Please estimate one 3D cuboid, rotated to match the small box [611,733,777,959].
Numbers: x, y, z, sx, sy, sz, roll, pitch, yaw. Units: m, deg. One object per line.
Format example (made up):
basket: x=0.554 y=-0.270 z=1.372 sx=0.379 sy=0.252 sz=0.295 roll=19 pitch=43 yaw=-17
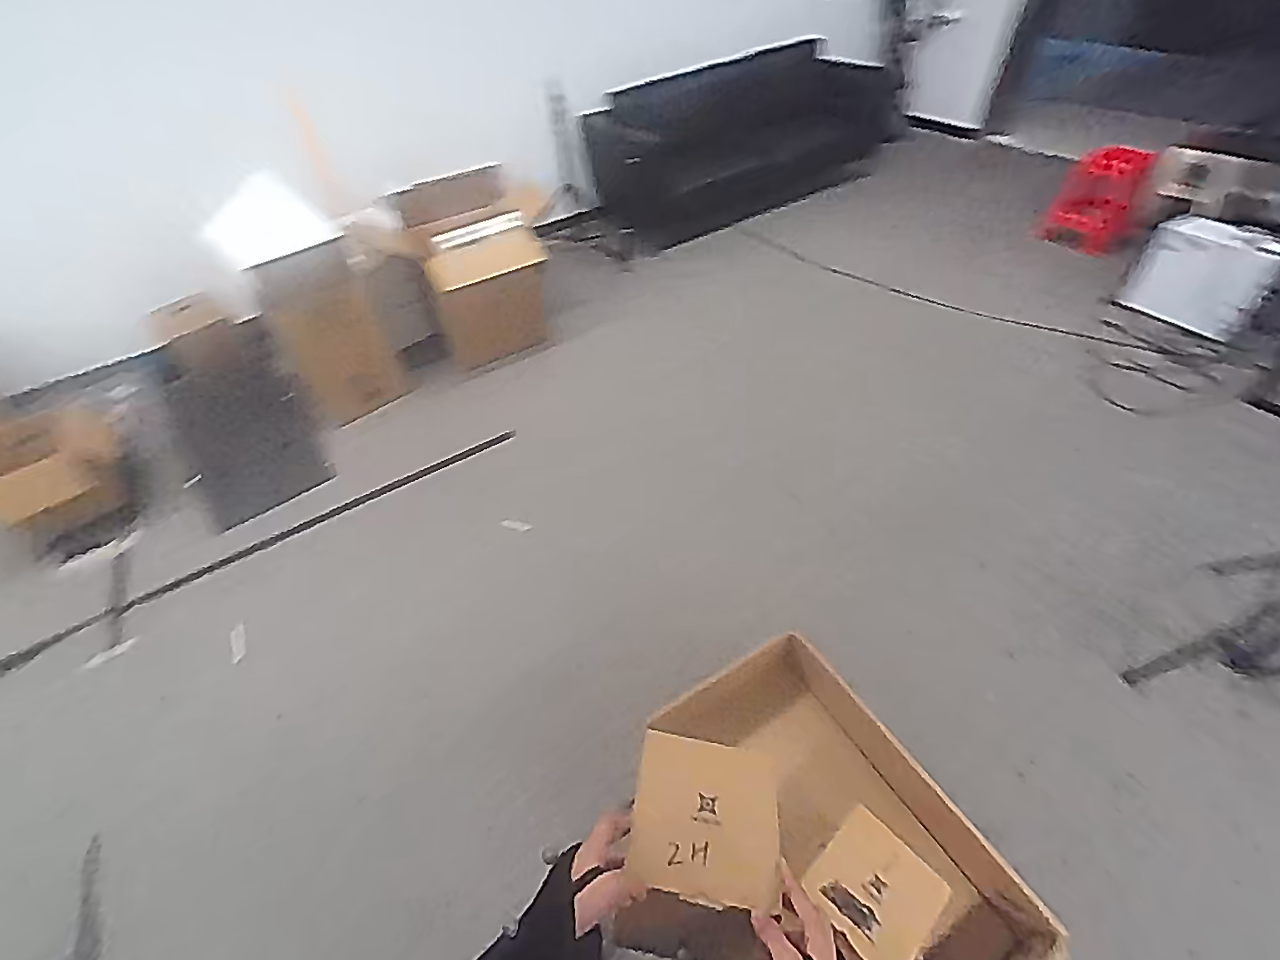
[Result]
small box: x=0.062 y=0.449 z=0.657 sx=0.168 sy=0.176 sz=0.179 roll=9 pitch=32 yaw=5
